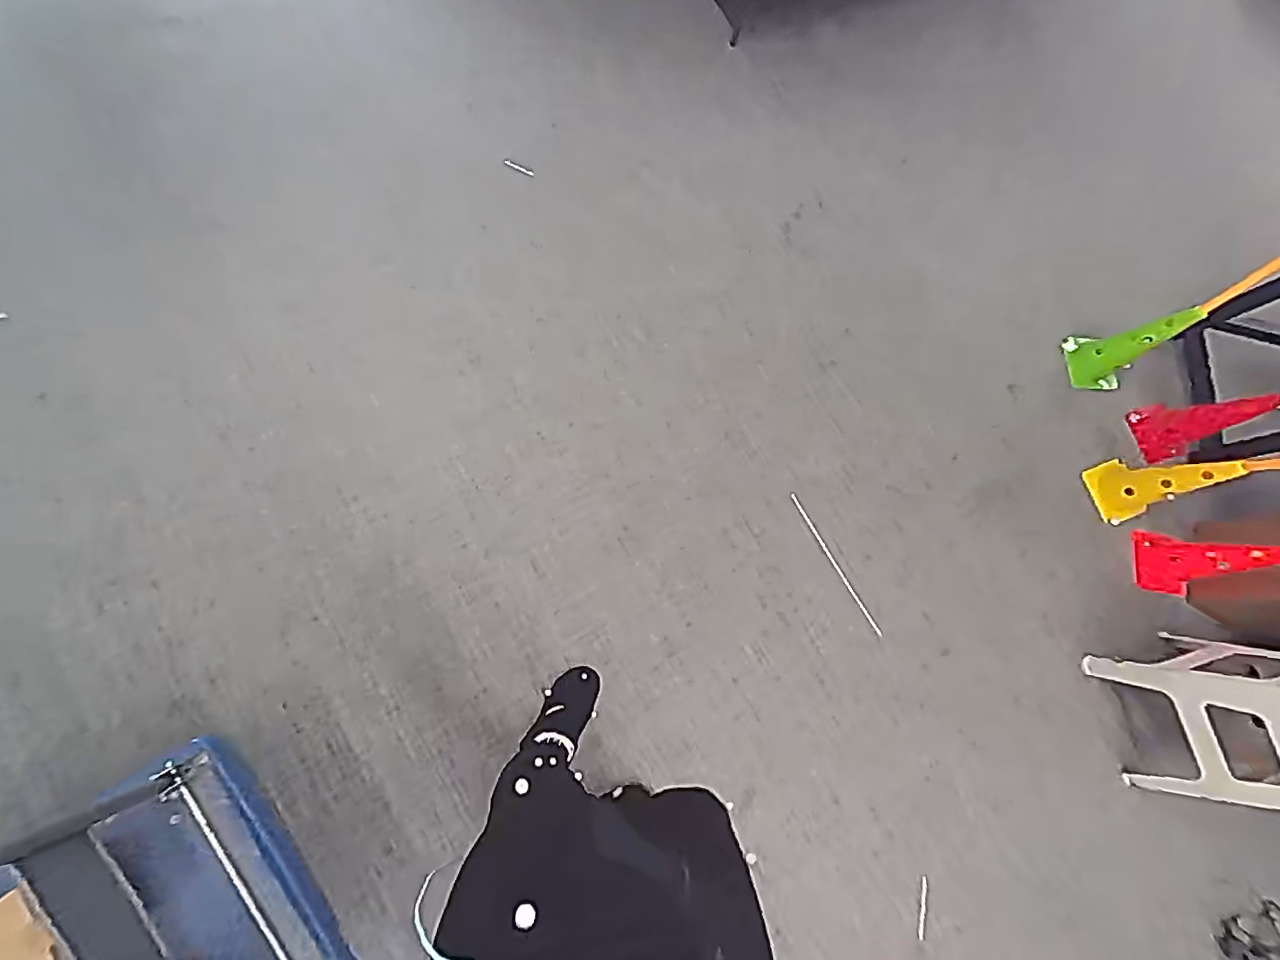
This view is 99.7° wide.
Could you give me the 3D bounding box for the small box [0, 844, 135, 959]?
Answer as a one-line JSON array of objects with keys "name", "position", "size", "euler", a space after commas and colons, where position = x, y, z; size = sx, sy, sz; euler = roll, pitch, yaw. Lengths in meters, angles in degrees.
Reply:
[{"name": "small box", "position": [-0.999, 0.749, 0.879], "size": [0.179, 0.176, 0.168], "euler": [-31, 84, -18]}]
